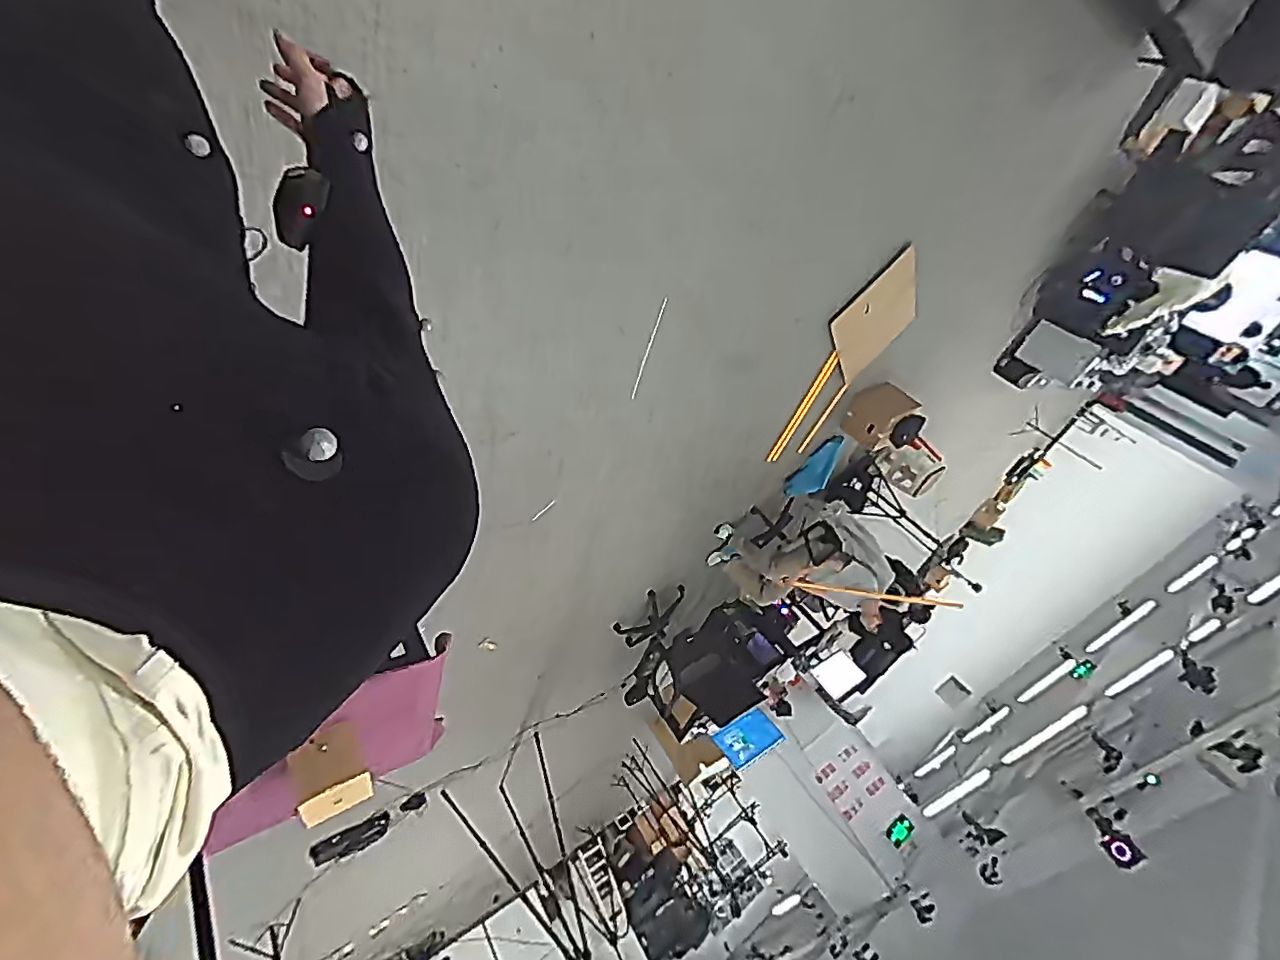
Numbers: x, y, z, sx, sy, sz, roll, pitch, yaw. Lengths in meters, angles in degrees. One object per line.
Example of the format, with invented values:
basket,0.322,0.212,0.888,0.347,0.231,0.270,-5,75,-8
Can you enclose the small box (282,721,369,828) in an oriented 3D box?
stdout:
small box,-0.848,0.790,1.463,0.168,0.176,0.179,-15,140,-35
